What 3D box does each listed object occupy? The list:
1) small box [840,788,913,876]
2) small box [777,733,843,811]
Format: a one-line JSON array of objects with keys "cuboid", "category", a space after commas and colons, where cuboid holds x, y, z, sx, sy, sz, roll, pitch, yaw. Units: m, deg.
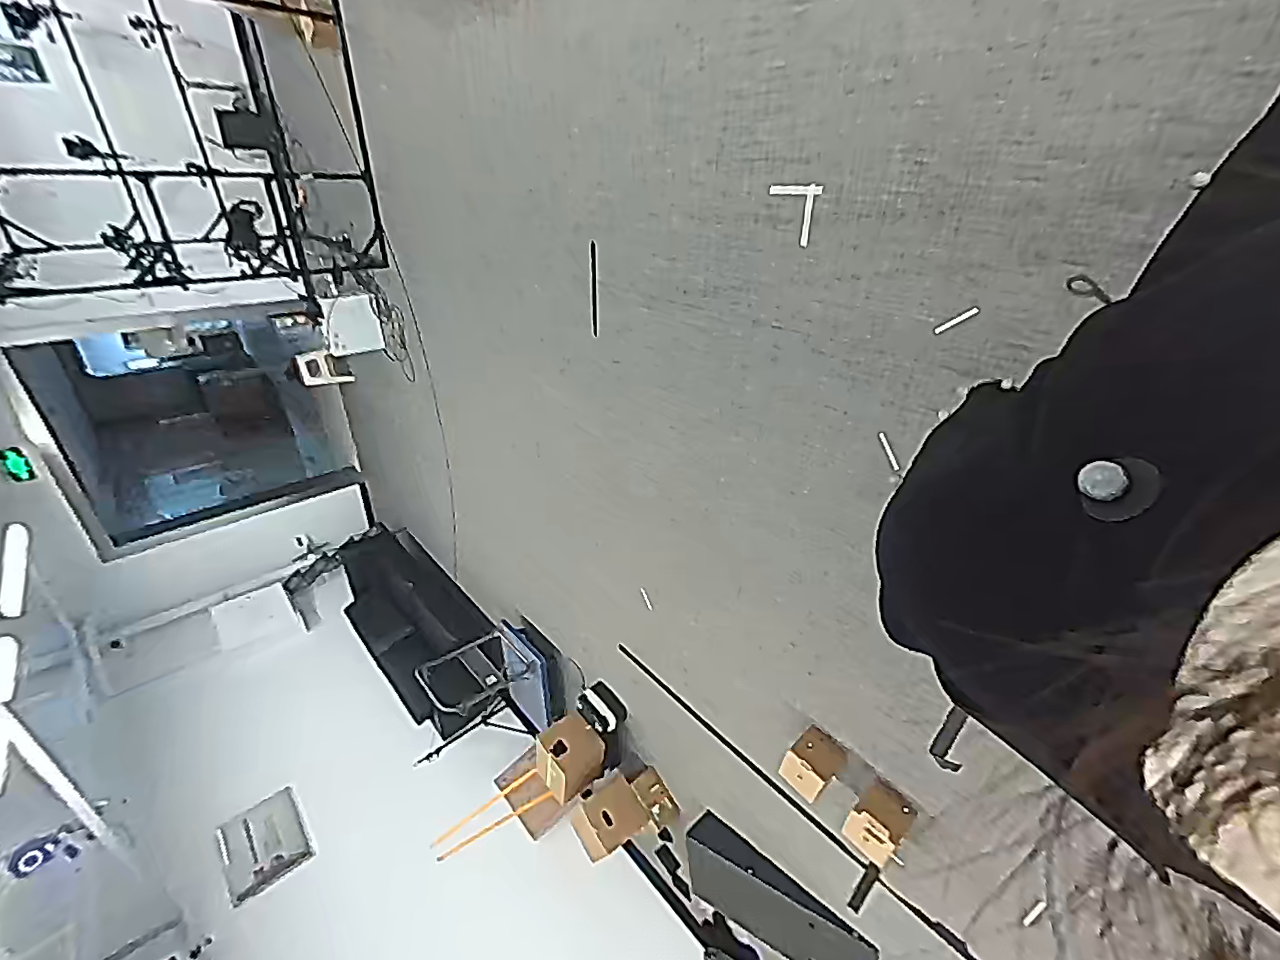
[{"cuboid": [0.859, 1.266, 1.955, 0.168, 0.176, 0.179, 33, 132, 38], "category": "small box"}, {"cuboid": [0.673, 1.143, 2.128, 0.168, 0.176, 0.179, 36, 134, 36], "category": "small box"}]
